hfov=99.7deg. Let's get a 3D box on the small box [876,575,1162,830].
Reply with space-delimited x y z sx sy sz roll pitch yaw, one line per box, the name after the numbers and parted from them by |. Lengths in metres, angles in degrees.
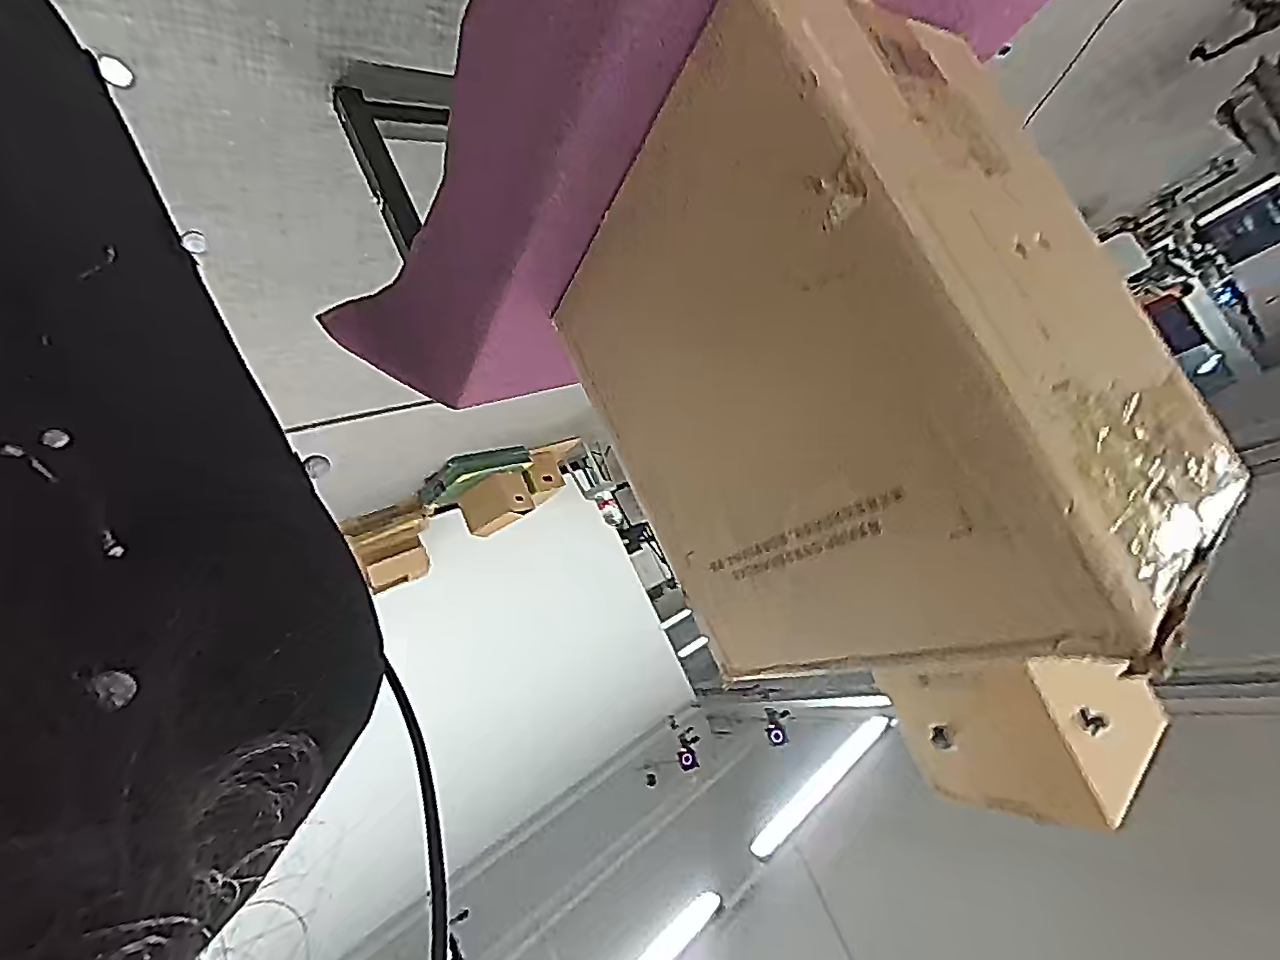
0.390 0.220 0.573 0.179 0.176 0.168 -22 173 -33 | small box
